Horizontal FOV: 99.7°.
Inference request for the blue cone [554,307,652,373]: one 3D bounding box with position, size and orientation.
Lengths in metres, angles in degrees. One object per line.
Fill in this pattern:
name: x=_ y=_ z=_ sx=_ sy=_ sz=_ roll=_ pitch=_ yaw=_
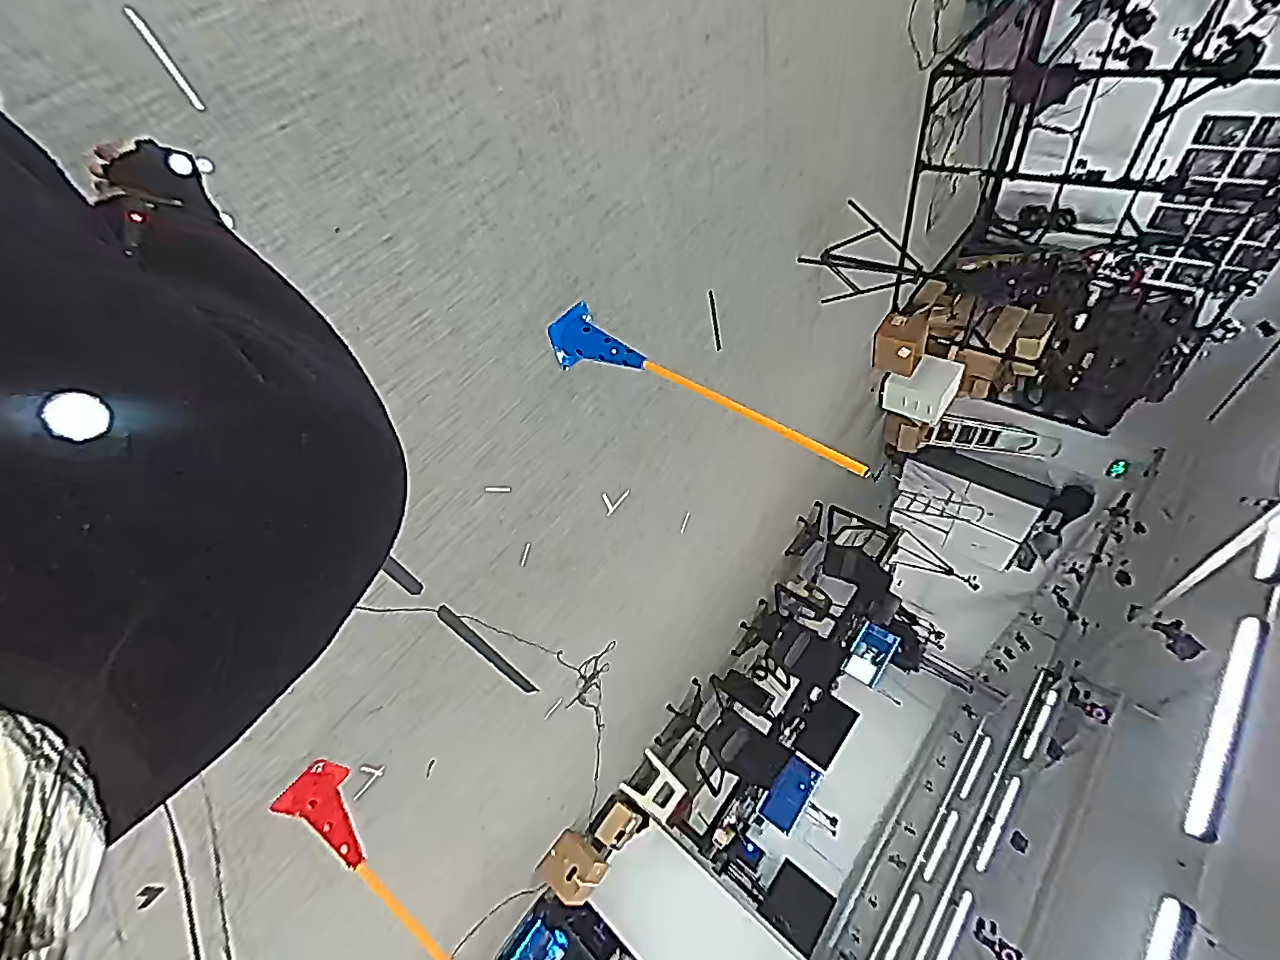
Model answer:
blue cone: x=-0.112 y=-0.461 z=1.920 sx=0.193 sy=0.380 sz=0.192 roll=-45 pitch=145 yaw=-24
